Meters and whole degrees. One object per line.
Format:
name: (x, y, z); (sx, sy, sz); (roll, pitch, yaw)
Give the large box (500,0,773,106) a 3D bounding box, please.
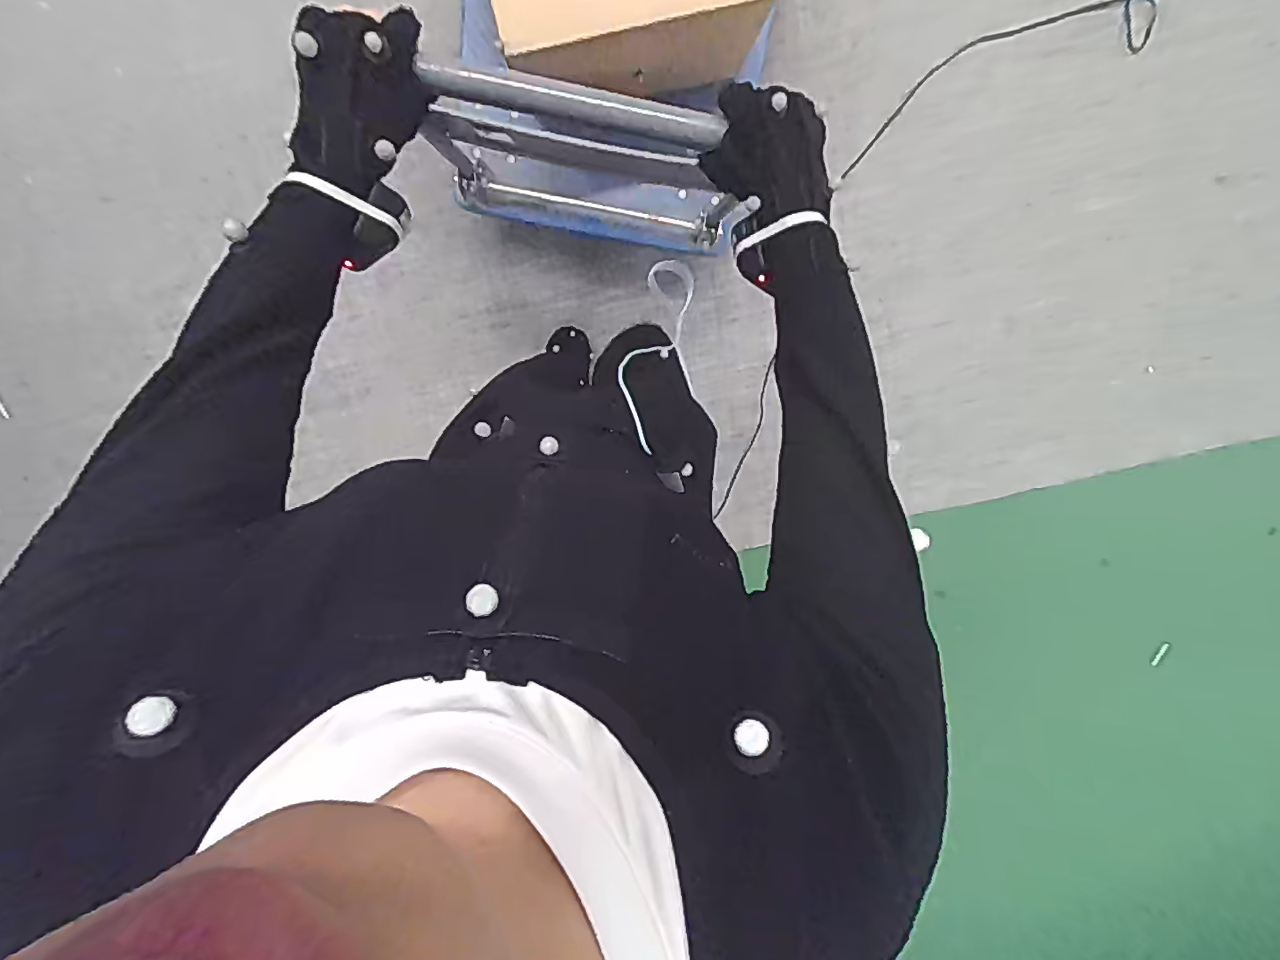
large box: (-0.023, -0.853, 0.857); (0.408, 0.320, 0.320); (-11, 109, 3)
